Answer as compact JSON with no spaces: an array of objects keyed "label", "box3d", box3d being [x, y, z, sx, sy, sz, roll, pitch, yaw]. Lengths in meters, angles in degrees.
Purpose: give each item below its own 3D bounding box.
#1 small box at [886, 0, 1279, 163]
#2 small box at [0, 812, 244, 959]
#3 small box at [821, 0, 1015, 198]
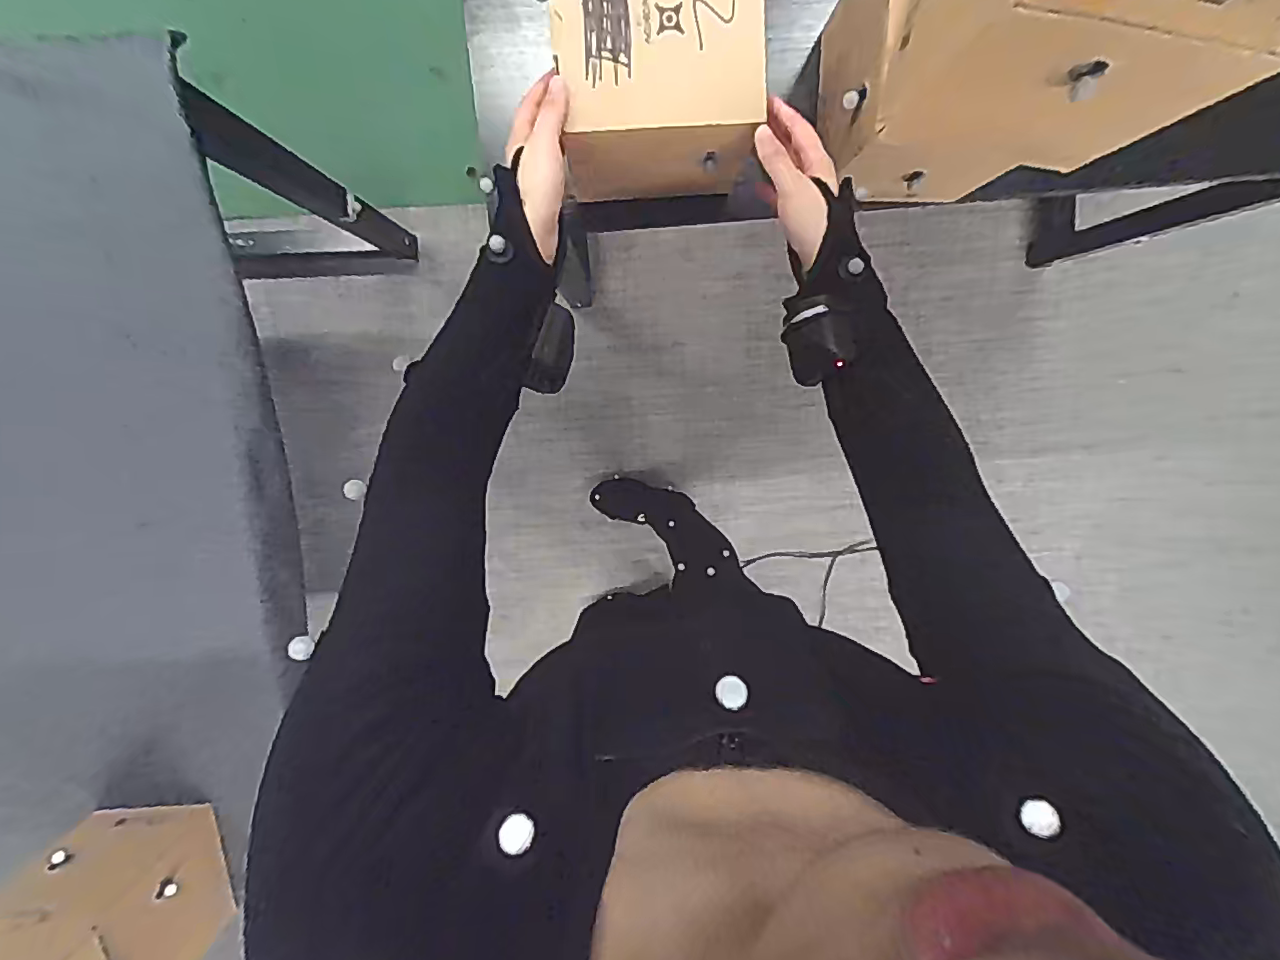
[{"label":"small box","box3d":[0.301,-0.339,0.362,0.179,0.176,0.168,8,100,-2]},{"label":"small box","box3d":[-0.643,0.544,0.672,0.168,0.176,0.179,-4,101,2]},{"label":"small box","box3d":[0.284,-0.387,0.518,0.168,0.176,0.179,0,100,-2]}]
